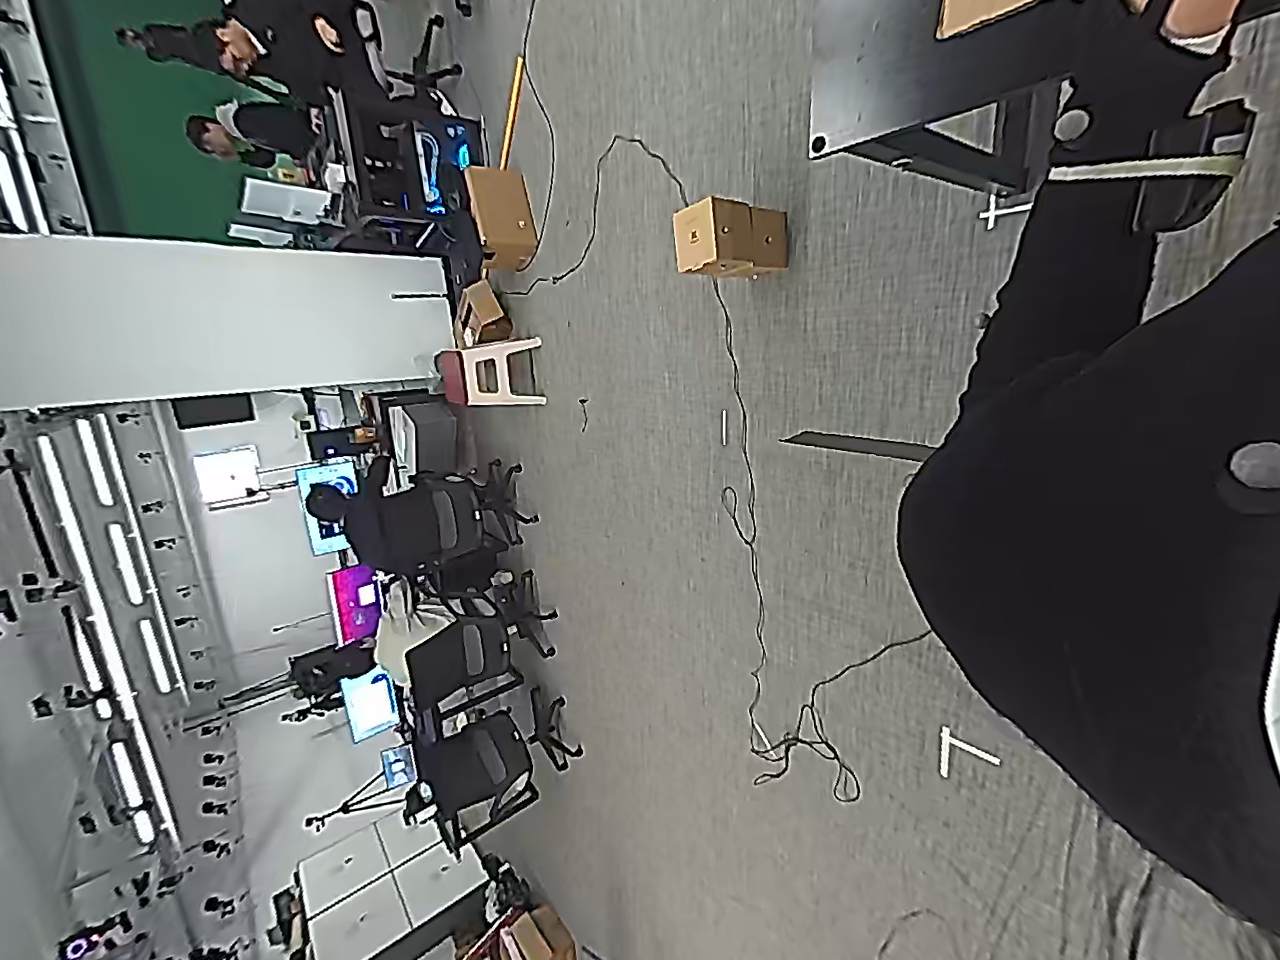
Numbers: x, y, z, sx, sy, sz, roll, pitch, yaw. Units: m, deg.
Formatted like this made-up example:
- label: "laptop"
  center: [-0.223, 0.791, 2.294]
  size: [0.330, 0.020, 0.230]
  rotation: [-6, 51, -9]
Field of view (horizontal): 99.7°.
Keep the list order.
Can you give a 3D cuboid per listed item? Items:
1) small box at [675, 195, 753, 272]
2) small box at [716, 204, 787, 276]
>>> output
- label: "small box"
  center: [0.228, -0.737, 1.637]
  size: [0.168, 0.176, 0.179]
  rotation: [5, 105, 52]
- label: "small box"
  center: [0.356, -0.763, 1.734]
  size: [0.168, 0.176, 0.179]
  rotation: [10, 109, 51]
